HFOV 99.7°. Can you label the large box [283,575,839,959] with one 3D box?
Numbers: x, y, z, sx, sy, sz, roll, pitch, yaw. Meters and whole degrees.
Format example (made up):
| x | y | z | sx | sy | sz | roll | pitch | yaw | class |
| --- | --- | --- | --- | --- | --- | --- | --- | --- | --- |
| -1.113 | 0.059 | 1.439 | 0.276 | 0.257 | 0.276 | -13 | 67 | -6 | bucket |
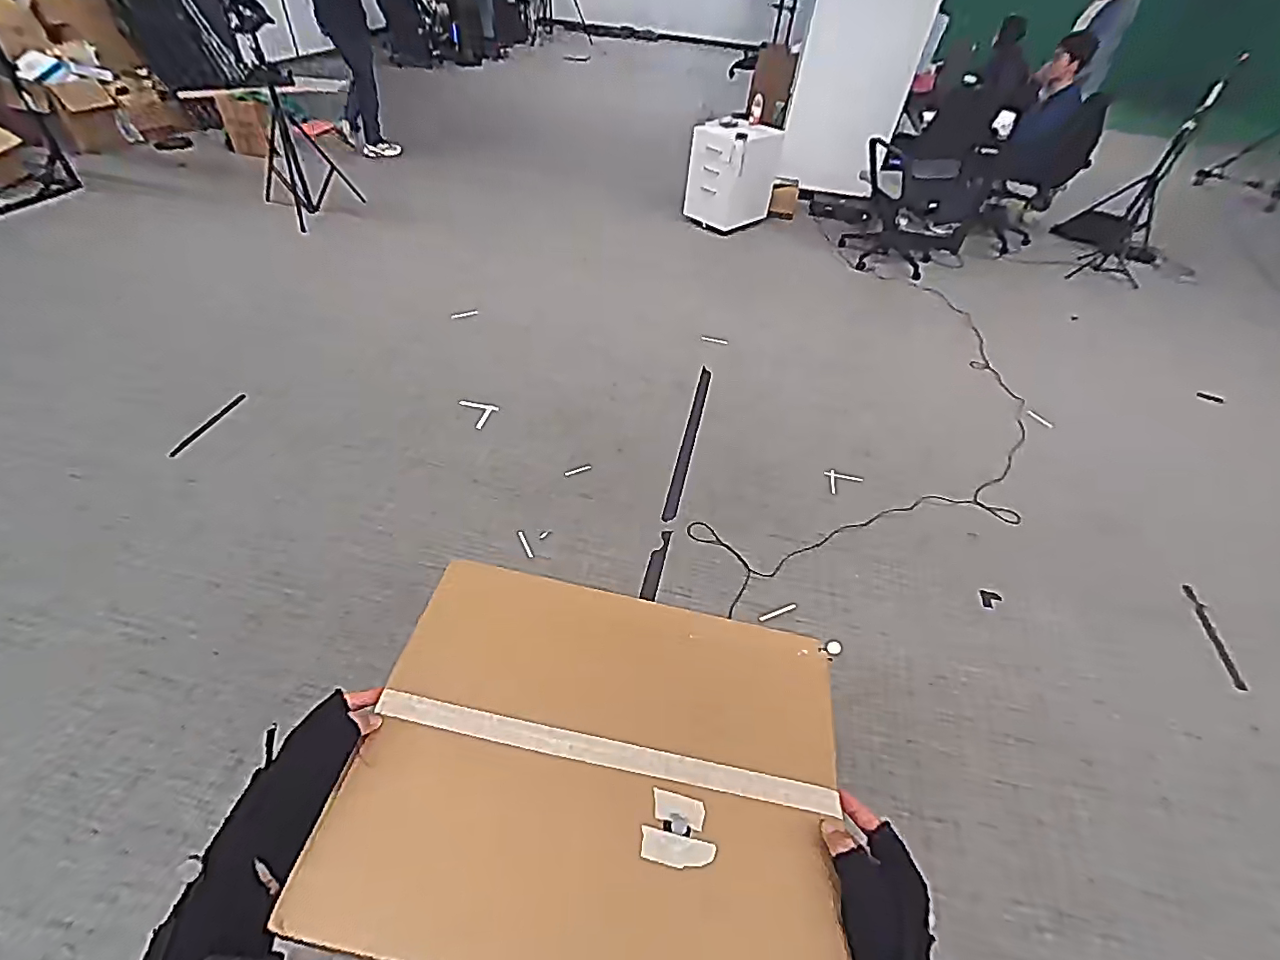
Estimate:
| x | y | z | sx | sy | sz | roll | pitch | yaw | class |
| --- | --- | --- | --- | --- | --- | --- | --- | --- | --- |
| -0.052 | 0.349 | 0.576 | 0.408 | 0.320 | 0.320 | 13 | 47 | 1 | large box |
